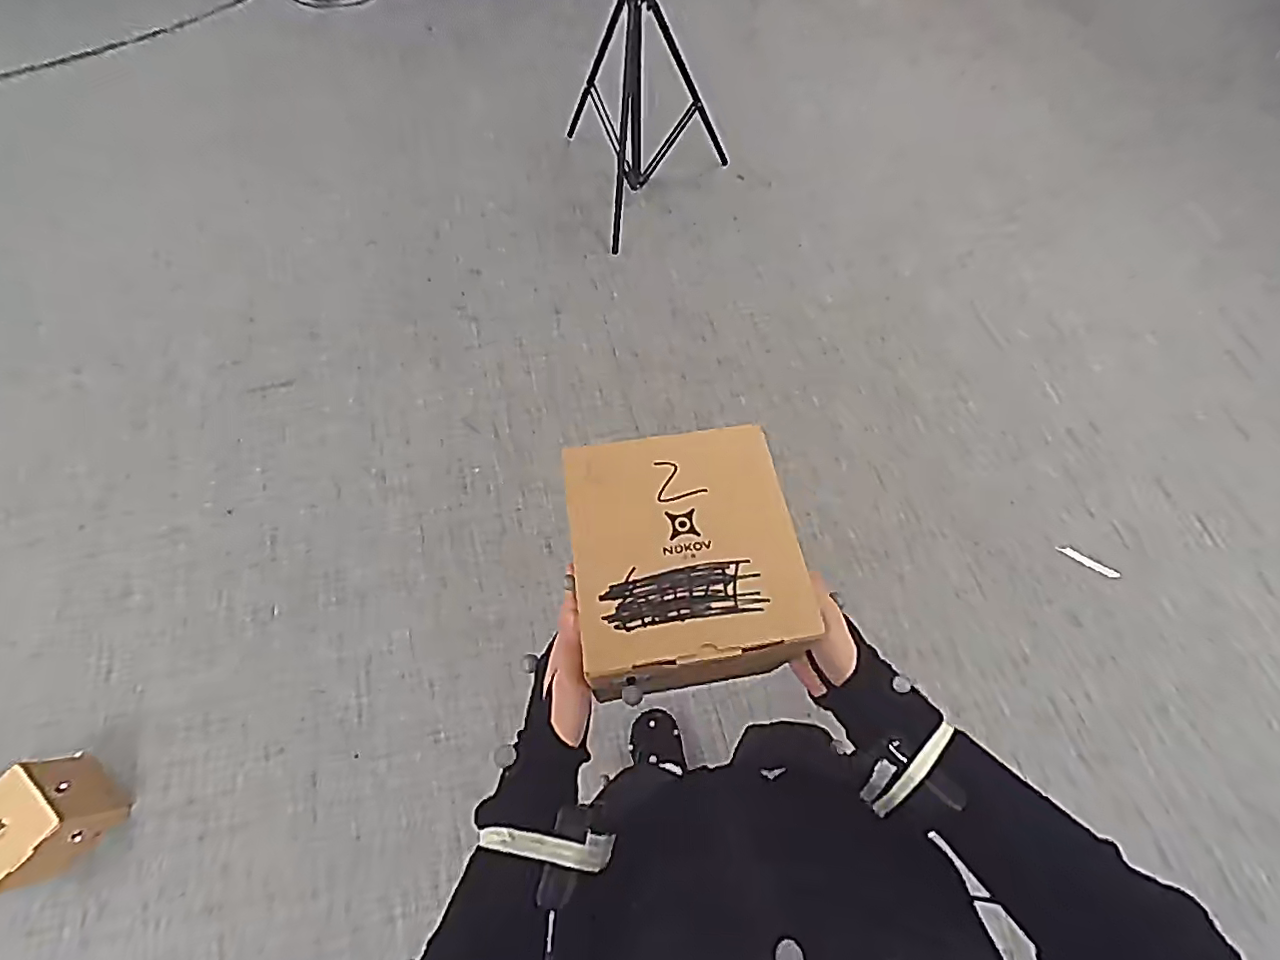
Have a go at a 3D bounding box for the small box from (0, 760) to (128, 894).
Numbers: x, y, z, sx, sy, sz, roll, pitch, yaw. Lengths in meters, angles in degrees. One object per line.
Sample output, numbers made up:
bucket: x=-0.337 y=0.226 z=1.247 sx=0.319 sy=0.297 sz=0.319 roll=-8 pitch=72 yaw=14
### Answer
small box: x=-1.268 y=0.722 z=1.150 sx=0.179 sy=0.176 sz=0.168 roll=36 pitch=71 yaw=14
